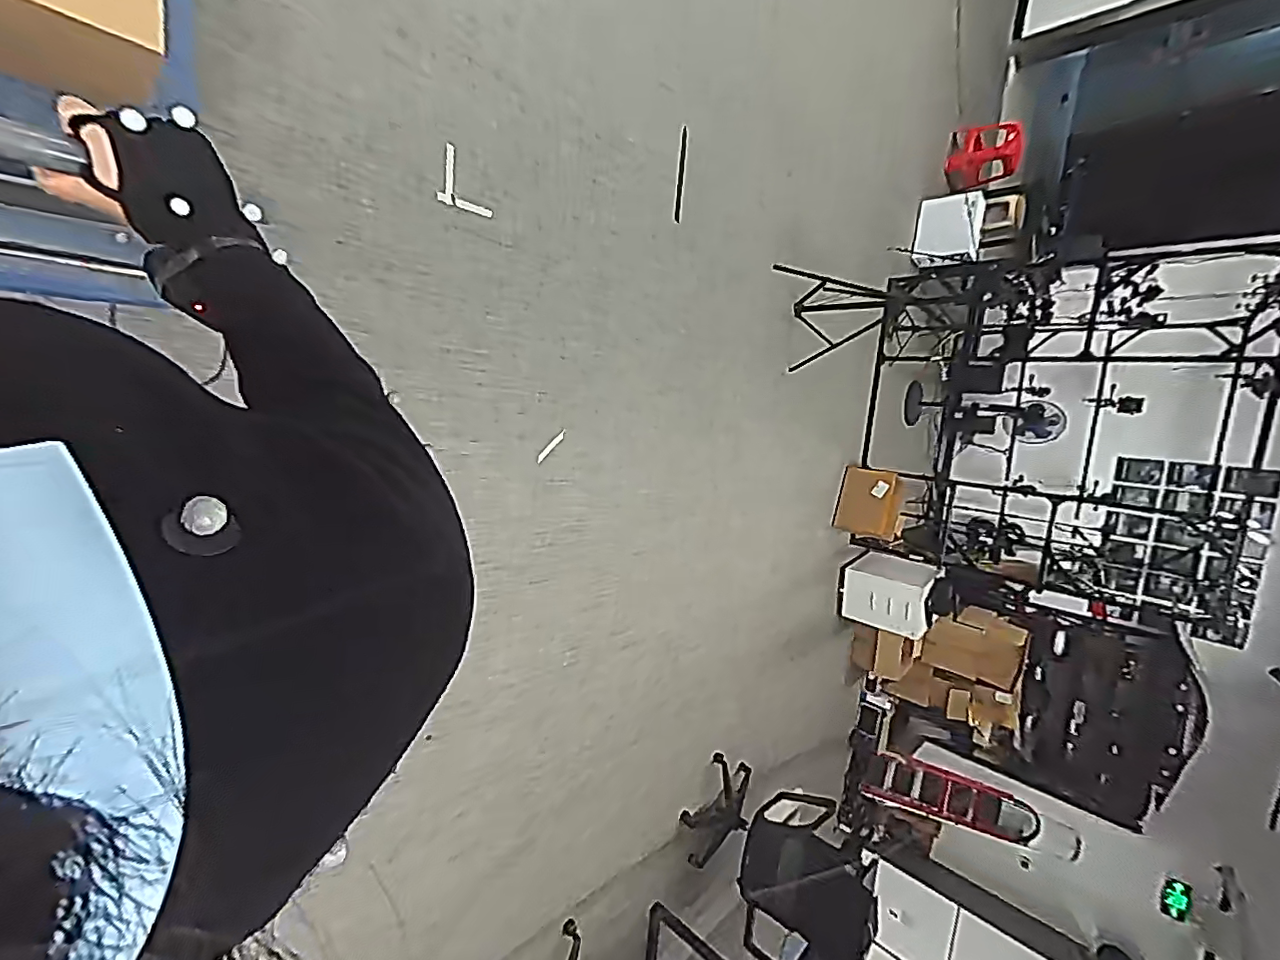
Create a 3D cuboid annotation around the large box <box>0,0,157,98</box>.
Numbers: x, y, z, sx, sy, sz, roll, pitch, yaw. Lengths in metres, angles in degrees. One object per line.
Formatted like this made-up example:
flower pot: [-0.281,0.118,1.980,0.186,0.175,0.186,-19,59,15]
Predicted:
large box: [-0.892,-0.767,0.673,0.408,0.320,0.320,-4,101,-47]
